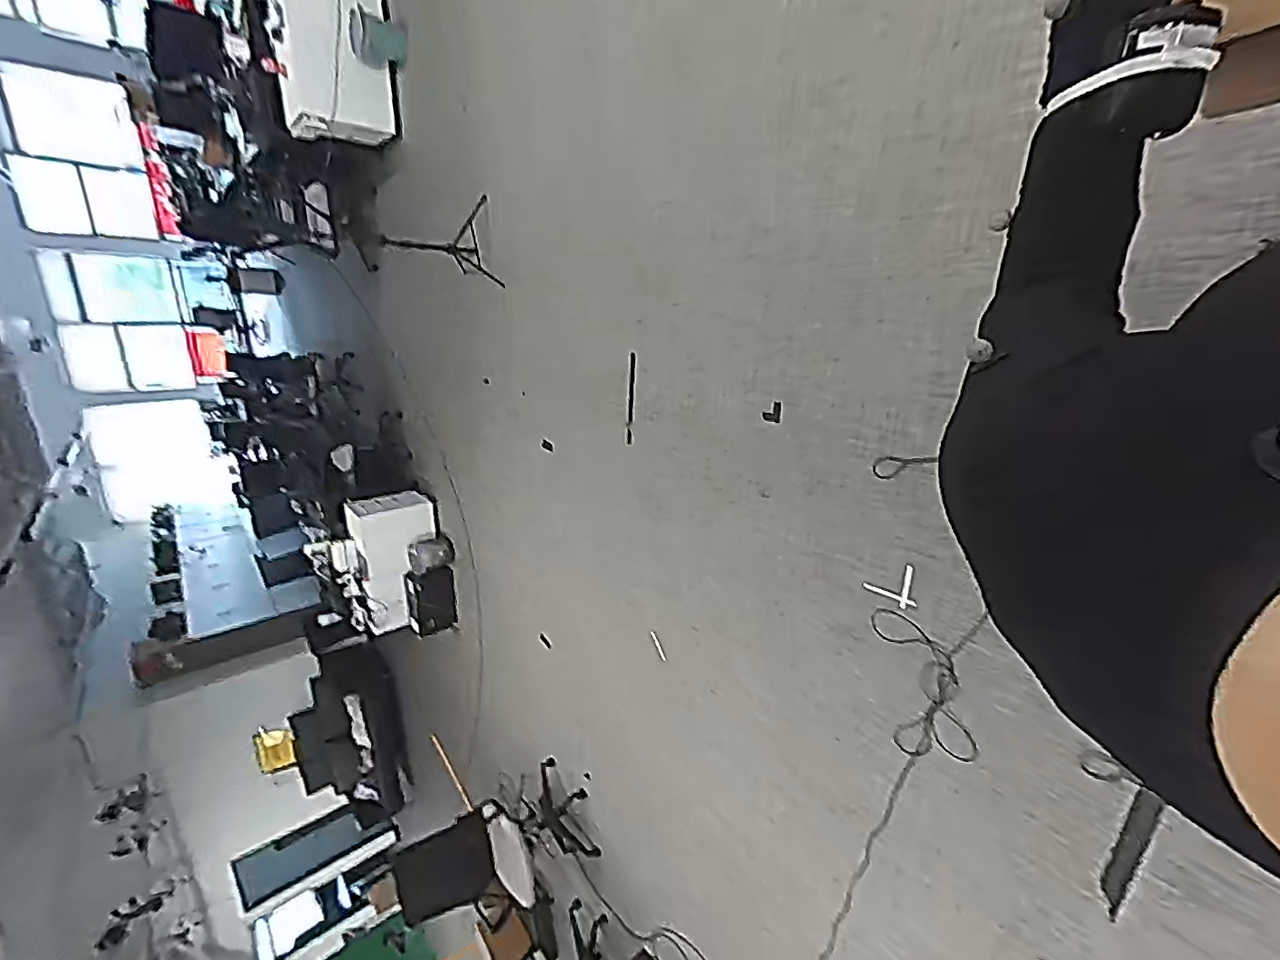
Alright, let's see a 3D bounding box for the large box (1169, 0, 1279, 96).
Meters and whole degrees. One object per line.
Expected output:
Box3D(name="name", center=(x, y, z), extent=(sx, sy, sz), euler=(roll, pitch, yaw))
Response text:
Box3D(name="large box", center=(0.587, -0.467, 0.279), extent=(0.408, 0.320, 0.320), euler=(13, 117, 47))
